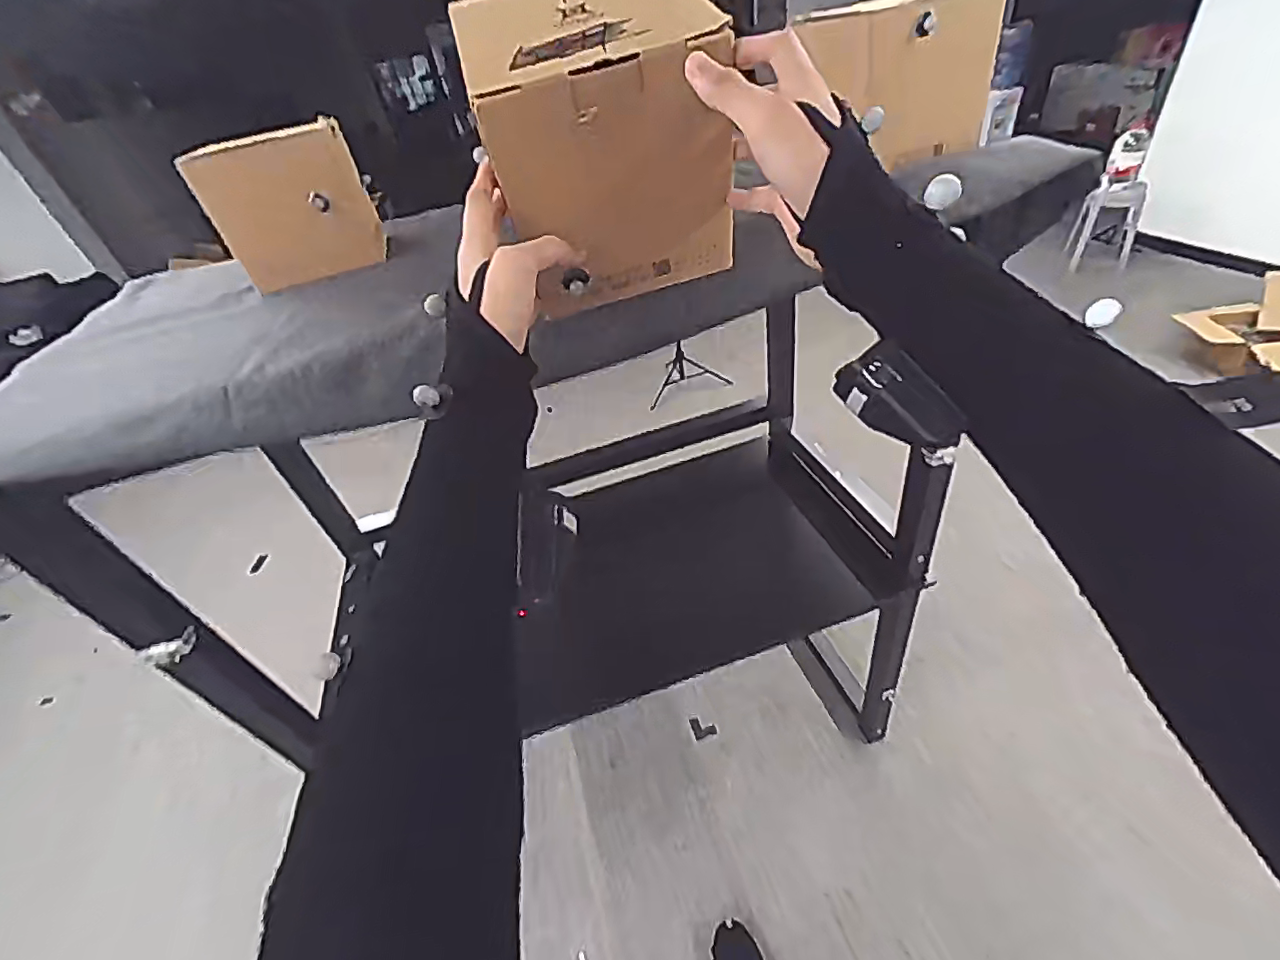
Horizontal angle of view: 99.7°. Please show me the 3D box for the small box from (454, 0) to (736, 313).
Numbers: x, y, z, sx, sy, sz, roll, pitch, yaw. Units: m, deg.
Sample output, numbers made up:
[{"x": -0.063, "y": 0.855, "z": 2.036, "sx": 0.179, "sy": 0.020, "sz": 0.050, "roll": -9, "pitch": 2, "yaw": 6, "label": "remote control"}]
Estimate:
[{"x": -0.030, "y": -0.256, "z": 0.430, "sx": 0.168, "sy": 0.176, "sz": 0.179, "roll": -17, "pitch": 57, "yaw": -3, "label": "small box"}]

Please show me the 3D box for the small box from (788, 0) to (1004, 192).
[{"x": 0.297, "y": -0.472, "z": 0.670, "sx": 0.168, "sy": 0.176, "sz": 0.179, "roll": -19, "pitch": 39, "yaw": -7, "label": "small box"}]

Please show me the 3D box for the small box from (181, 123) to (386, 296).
[{"x": -0.479, "y": -0.384, "z": 0.765, "sx": 0.179, "sy": 0.176, "sz": 0.168, "roll": -19, "pitch": 40, "yaw": -10, "label": "small box"}]
